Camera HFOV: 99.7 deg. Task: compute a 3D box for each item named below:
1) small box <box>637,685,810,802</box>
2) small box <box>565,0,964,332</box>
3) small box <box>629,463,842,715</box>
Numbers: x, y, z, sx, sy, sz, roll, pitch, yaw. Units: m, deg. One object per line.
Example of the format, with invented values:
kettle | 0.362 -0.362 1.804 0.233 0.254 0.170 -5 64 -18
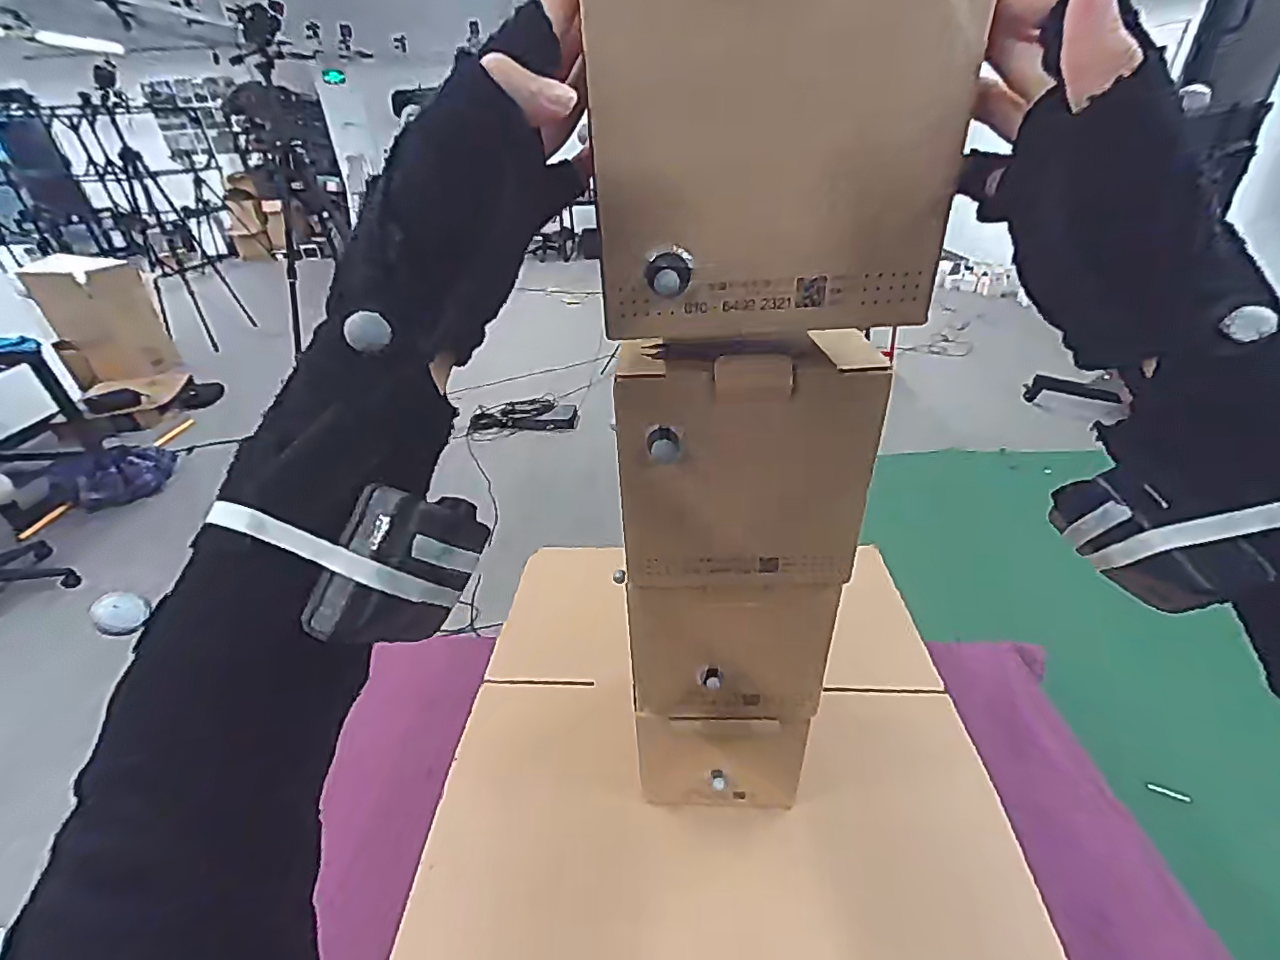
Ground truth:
small box | 0.087 0.232 0.618 0.168 0.176 0.179 -1 33 5
small box | 0.058 -0.187 0.311 0.168 0.176 0.179 -2 31 2
small box | 0.078 0.098 0.524 0.168 0.176 0.179 -1 33 3
